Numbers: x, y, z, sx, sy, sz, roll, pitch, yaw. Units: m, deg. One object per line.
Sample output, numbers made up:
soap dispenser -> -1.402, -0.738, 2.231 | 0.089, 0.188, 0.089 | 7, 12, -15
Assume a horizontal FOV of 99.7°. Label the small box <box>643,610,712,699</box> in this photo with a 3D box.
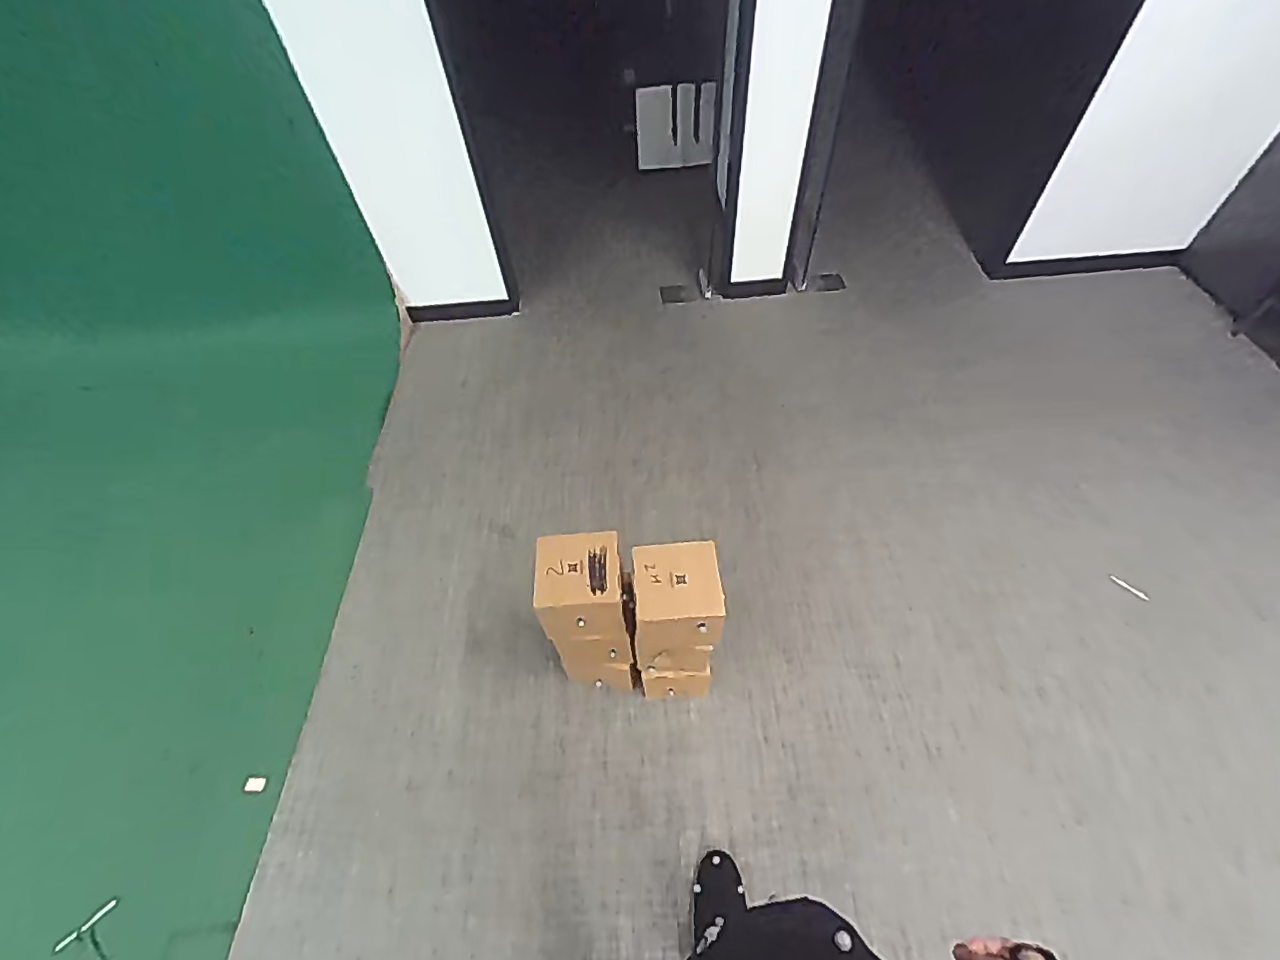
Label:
small box -> 0.093, 0.453, 1.404 | 0.168, 0.176, 0.179 | -4, 54, 2
